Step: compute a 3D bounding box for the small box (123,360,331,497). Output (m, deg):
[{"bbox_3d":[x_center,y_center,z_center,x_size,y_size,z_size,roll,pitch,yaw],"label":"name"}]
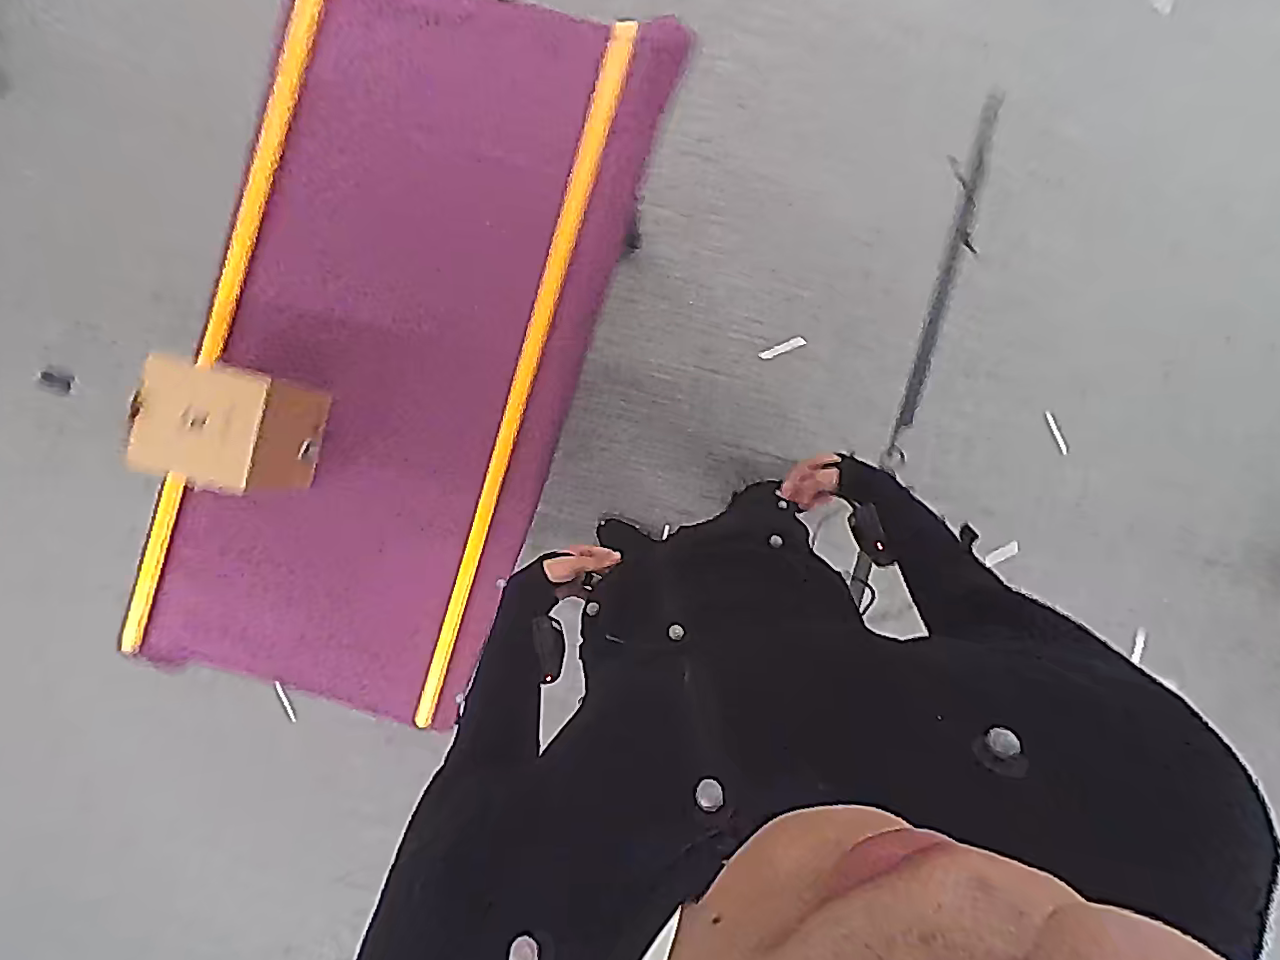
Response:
[{"bbox_3d":[-0.623,-0.073,0.836,0.179,0.176,0.168,12,91,0],"label":"small box"}]
